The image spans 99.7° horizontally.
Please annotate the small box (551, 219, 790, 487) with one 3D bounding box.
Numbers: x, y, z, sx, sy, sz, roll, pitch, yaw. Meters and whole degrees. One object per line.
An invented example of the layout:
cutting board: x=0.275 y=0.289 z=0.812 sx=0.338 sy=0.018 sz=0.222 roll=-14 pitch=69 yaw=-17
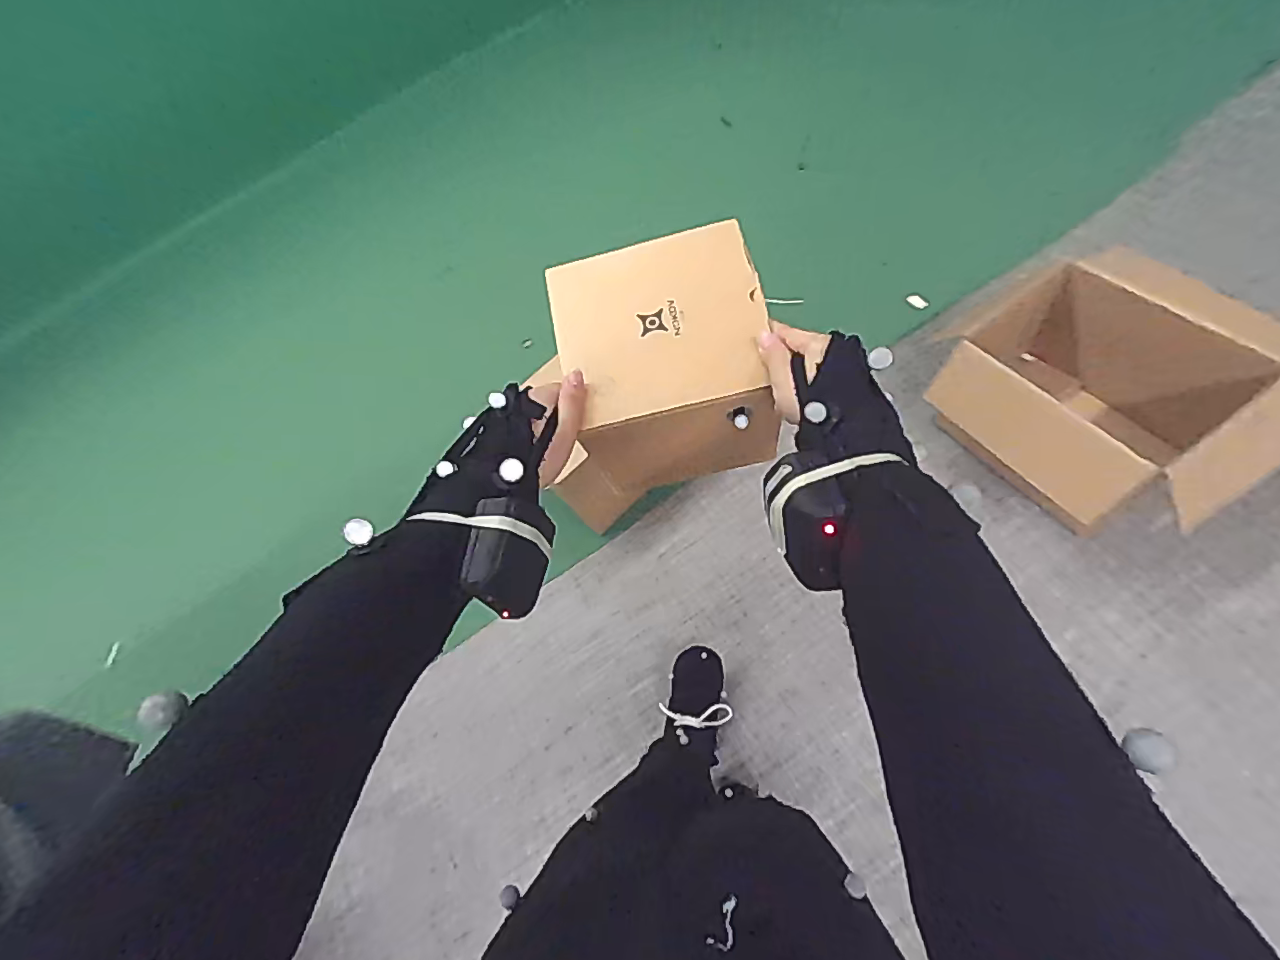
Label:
small box: x=0.030 y=-0.104 z=0.515 sx=0.179 sy=0.176 sz=0.168 roll=-12 pitch=69 yaw=4
